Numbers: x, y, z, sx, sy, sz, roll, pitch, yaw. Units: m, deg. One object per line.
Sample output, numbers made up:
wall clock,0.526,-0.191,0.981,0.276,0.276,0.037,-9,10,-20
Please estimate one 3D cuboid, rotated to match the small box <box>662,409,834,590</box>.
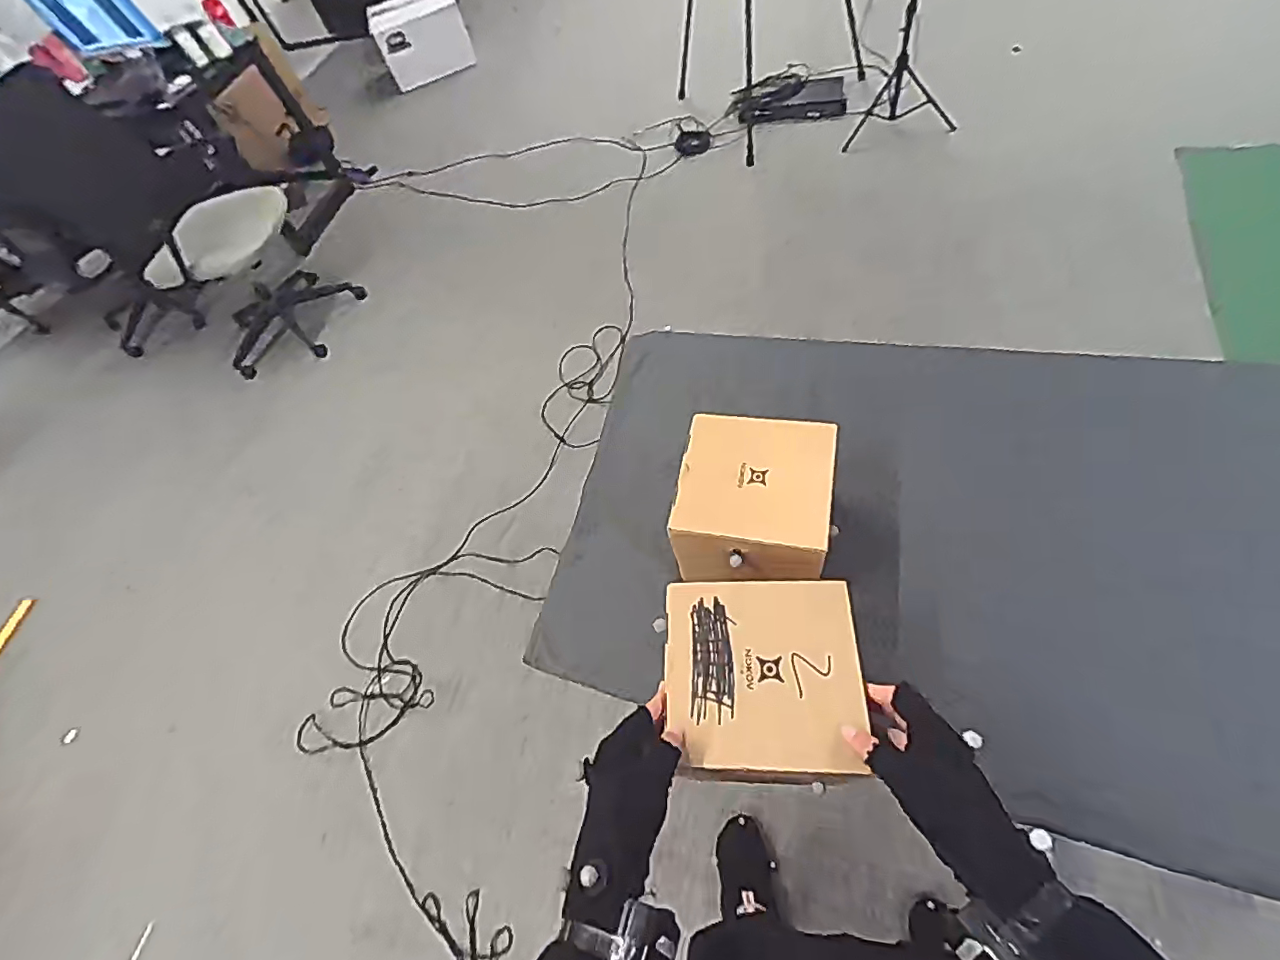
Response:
small box,0.142,0.030,0.688,0.179,0.176,0.168,6,62,18
